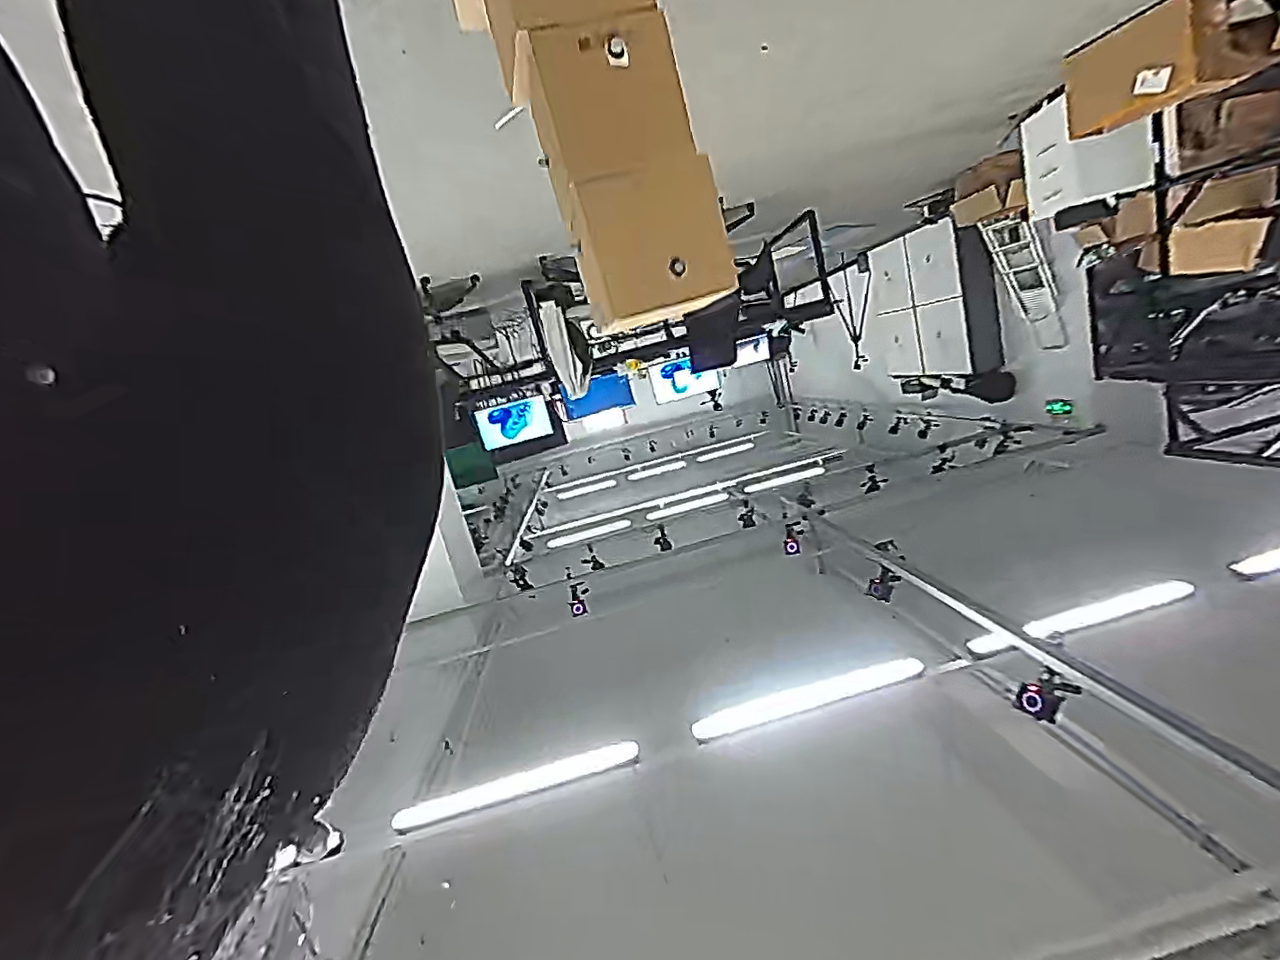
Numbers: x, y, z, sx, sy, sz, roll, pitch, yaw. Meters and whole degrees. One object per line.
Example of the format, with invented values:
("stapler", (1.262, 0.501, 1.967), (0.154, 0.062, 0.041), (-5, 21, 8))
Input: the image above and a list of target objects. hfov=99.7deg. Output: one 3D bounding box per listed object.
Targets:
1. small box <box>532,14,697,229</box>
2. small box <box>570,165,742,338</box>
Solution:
("small box", (-0.040, -0.463, 0.721), (0.168, 0.176, 0.179), (-18, -169, -6))
("small box", (0.016, -0.311, 0.753), (0.179, 0.176, 0.168), (-18, -169, -8))
